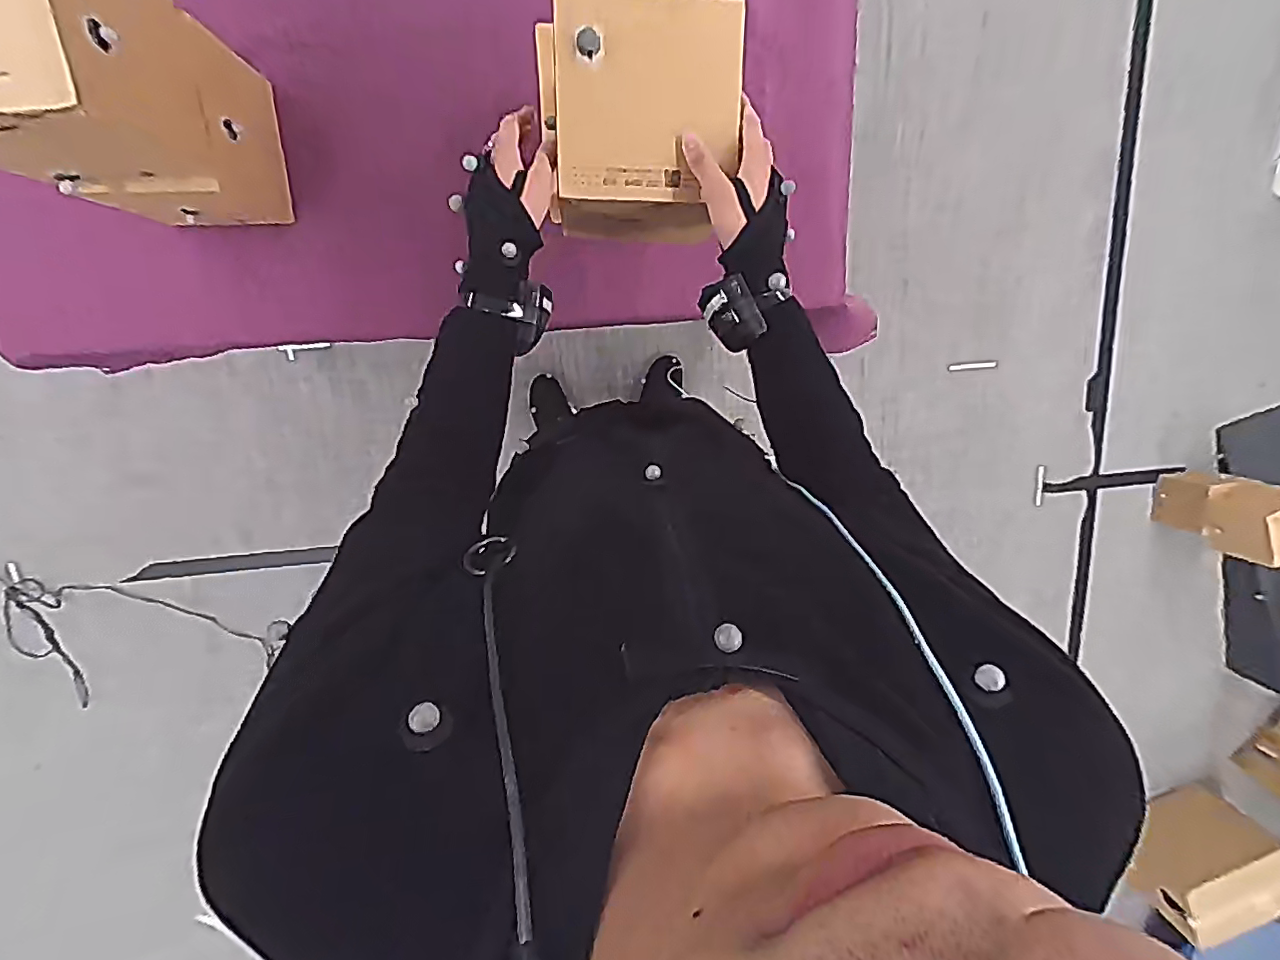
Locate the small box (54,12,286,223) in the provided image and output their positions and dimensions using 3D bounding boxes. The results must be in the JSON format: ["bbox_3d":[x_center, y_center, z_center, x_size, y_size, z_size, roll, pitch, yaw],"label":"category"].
[{"bbox_3d":[-0.561,-0.418,0.651,0.168,0.176,0.179,-3,104,-6],"label":"small box"}]

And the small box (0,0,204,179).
[{"bbox_3d":[-0.548,-0.390,0.489,0.168,0.176,0.179,-7,104,-5],"label":"small box"}]

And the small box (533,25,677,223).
[{"bbox_3d":[-0.045,-0.444,0.705,0.168,0.176,0.179,-3,103,-5],"label":"small box"}]
